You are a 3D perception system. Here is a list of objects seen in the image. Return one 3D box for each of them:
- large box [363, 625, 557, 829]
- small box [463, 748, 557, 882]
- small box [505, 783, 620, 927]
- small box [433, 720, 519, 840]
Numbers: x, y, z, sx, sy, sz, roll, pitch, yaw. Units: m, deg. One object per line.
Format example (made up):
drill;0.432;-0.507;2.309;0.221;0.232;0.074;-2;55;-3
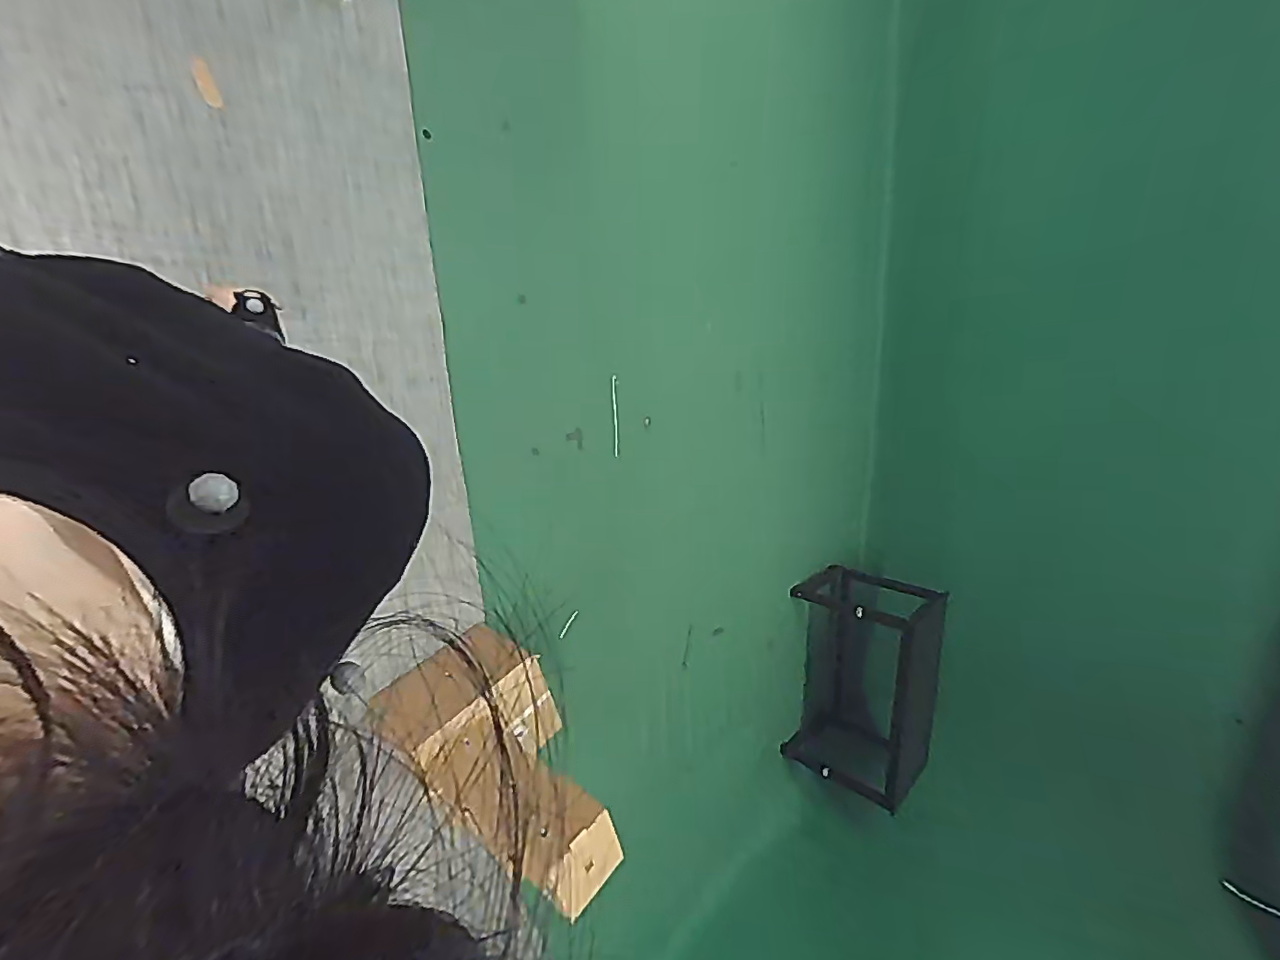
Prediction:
large box;-0.533;0.715;1.633;0.408;0.320;0.320;-35;123;-38
small box;-0.299;0.792;1.295;0.179;0.176;0.168;-34;121;-39
small box;-0.173;0.809;1.193;0.168;0.176;0.179;-32;120;-38
small box;-0.417;0.771;1.408;0.179;0.176;0.168;-29;118;-39
